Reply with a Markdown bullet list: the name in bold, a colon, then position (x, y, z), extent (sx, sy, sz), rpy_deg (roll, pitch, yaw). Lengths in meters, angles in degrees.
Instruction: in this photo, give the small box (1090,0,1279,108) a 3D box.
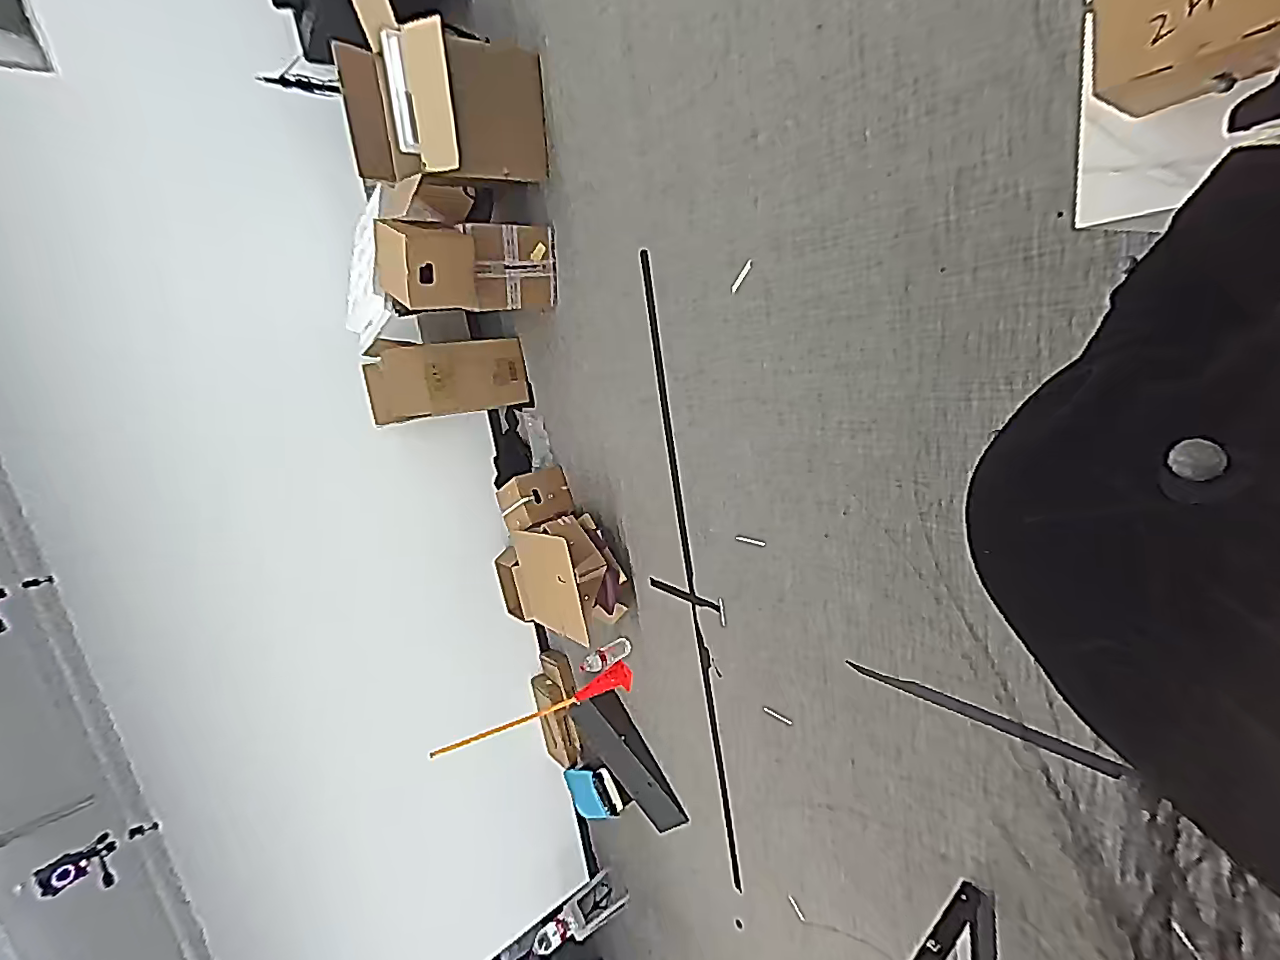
- **small box**: position (0.558, -0.493, 0.514), extent (0.168, 0.176, 0.179), rpy_deg (7, 110, 53)
